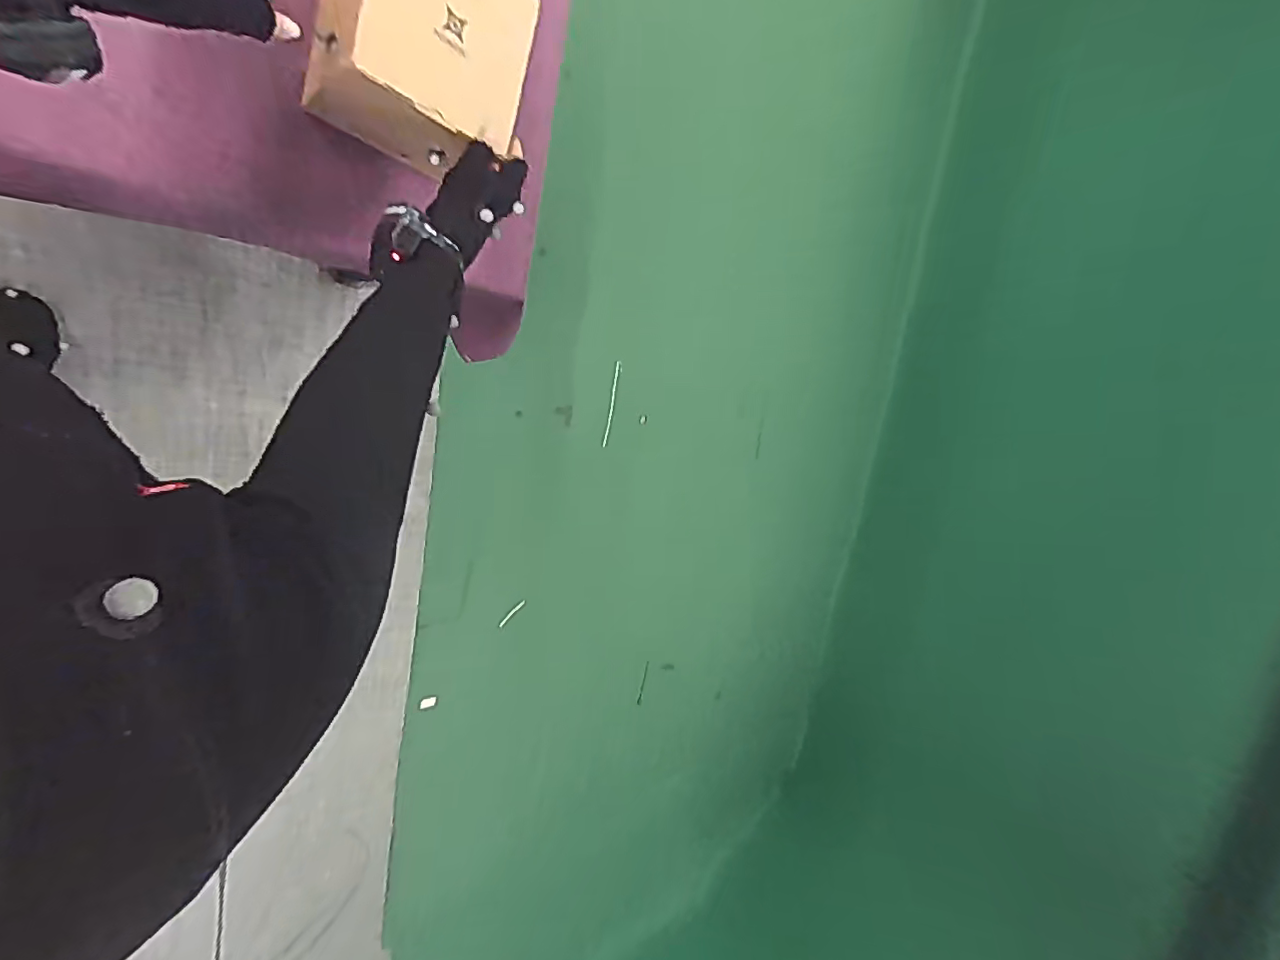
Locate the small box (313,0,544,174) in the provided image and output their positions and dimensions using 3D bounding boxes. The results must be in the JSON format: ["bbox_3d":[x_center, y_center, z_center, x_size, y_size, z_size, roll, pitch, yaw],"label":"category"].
[{"bbox_3d":[-0.236,-0.467,0.591,0.168,0.176,0.179,9,97,-47],"label":"small box"}]
